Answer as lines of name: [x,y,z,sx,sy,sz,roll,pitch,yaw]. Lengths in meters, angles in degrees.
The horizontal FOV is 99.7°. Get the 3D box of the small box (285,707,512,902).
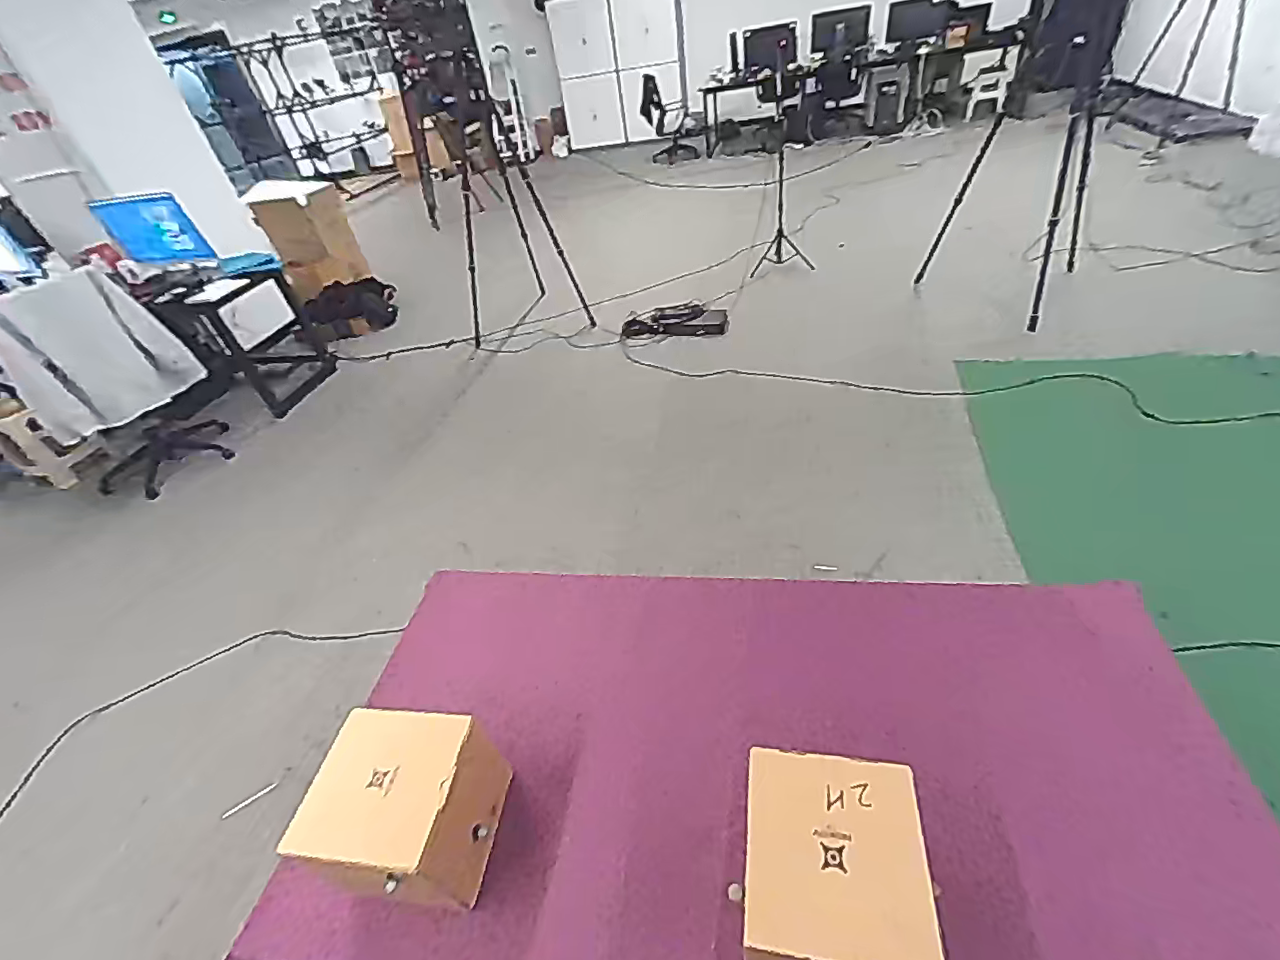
small box: [-0.290,0.414,0.693,0.179,0.176,0.168,-1,41,11]

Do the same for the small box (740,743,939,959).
small box: [0.198,0.411,0.571,0.168,0.176,0.179,1,41,14]
